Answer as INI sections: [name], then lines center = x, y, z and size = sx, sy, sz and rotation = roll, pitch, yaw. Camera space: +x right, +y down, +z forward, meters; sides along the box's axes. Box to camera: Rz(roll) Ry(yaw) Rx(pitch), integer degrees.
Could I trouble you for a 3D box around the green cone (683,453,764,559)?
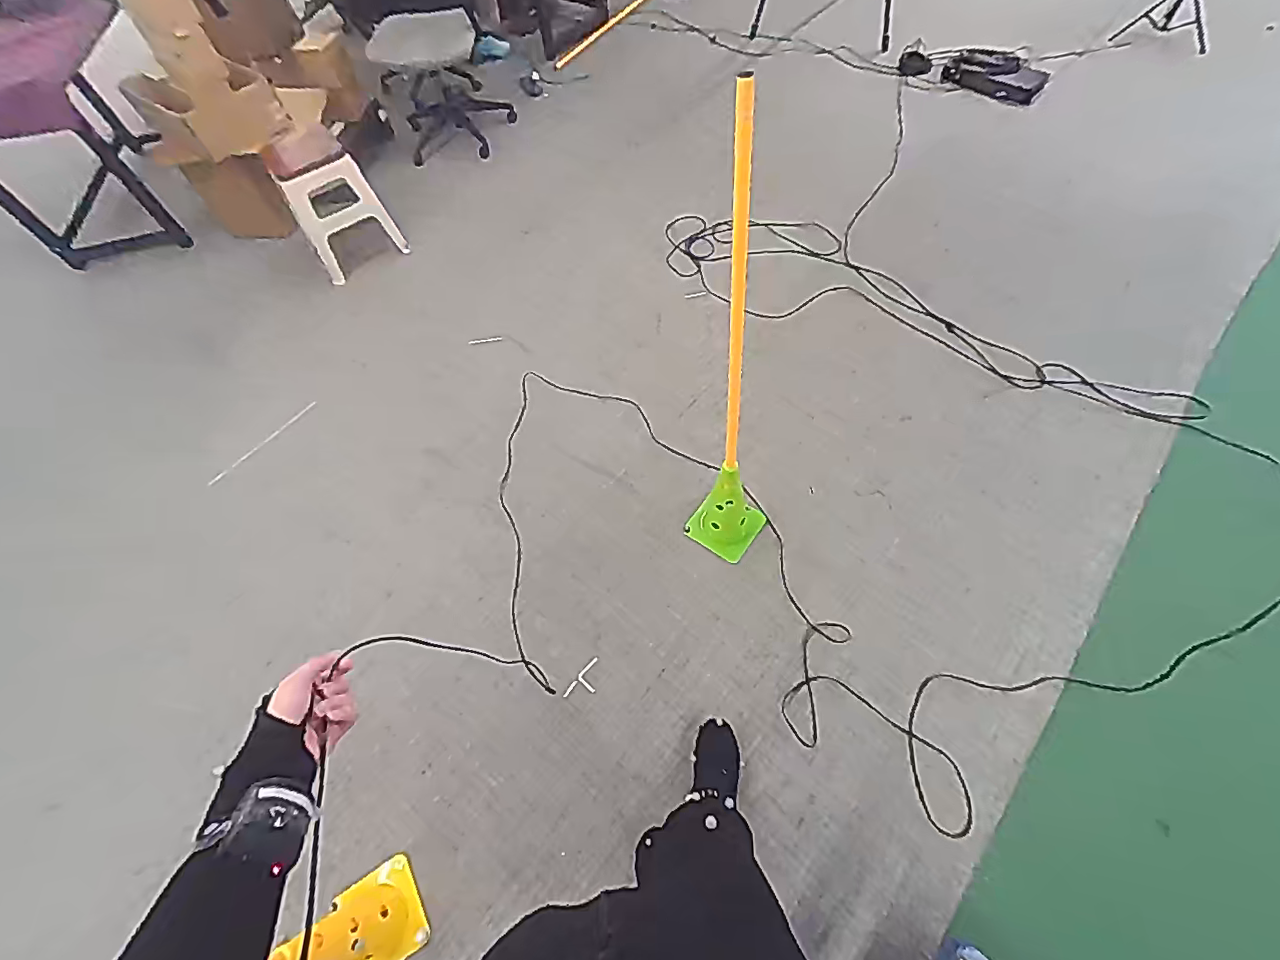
[green cone]
center = 0.250, 0.043, 1.549
size = 0.200, 0.368, 0.202
rotation = 31, 66, 21
